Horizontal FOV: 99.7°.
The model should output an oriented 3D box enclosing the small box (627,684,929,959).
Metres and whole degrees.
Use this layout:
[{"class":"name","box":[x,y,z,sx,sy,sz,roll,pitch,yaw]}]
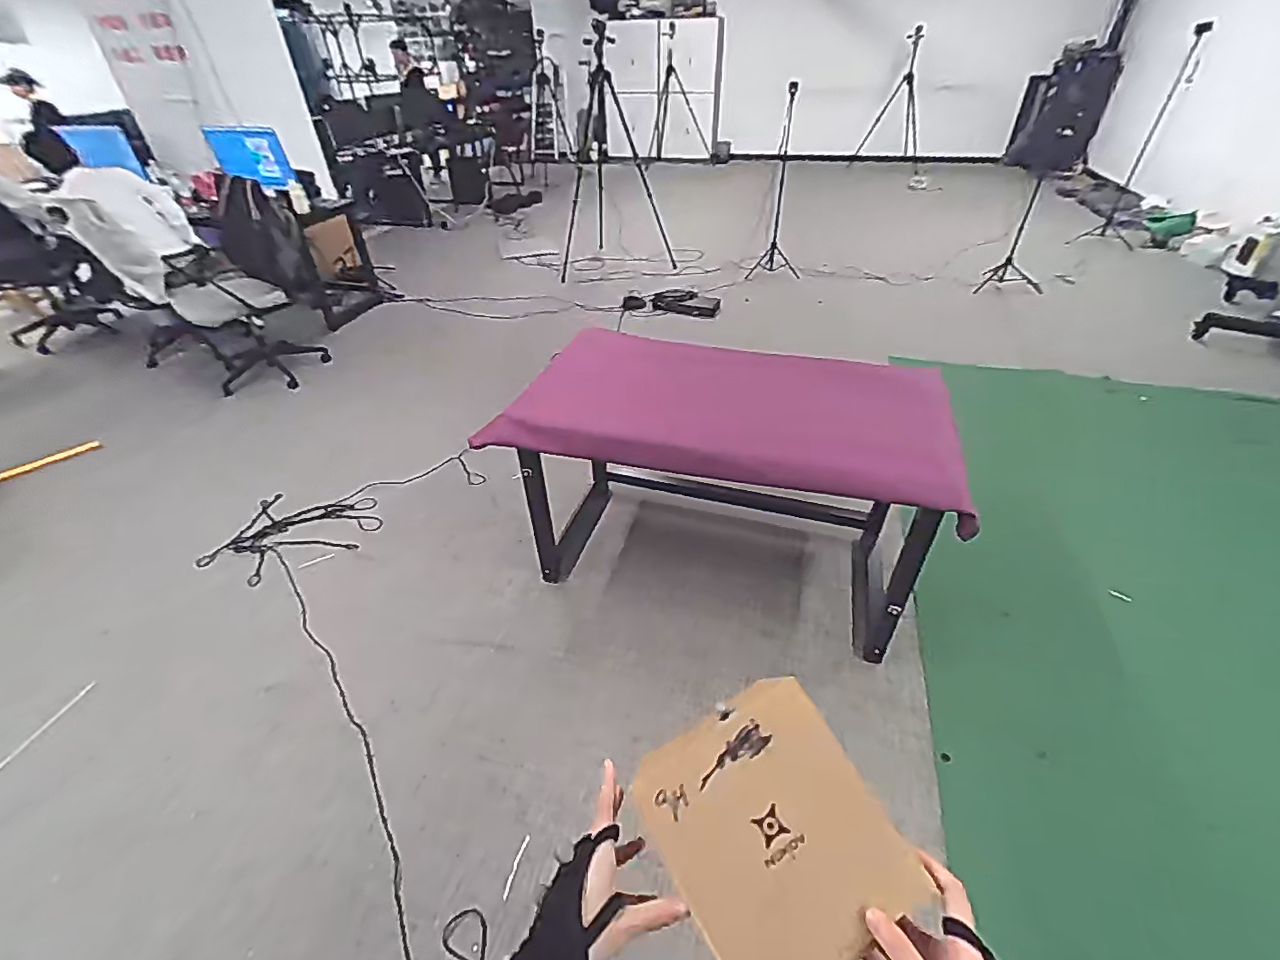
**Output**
[{"class":"small box","box":[0.105,0.301,0.484,0.168,0.176,0.179,-28,69,-8]}]
